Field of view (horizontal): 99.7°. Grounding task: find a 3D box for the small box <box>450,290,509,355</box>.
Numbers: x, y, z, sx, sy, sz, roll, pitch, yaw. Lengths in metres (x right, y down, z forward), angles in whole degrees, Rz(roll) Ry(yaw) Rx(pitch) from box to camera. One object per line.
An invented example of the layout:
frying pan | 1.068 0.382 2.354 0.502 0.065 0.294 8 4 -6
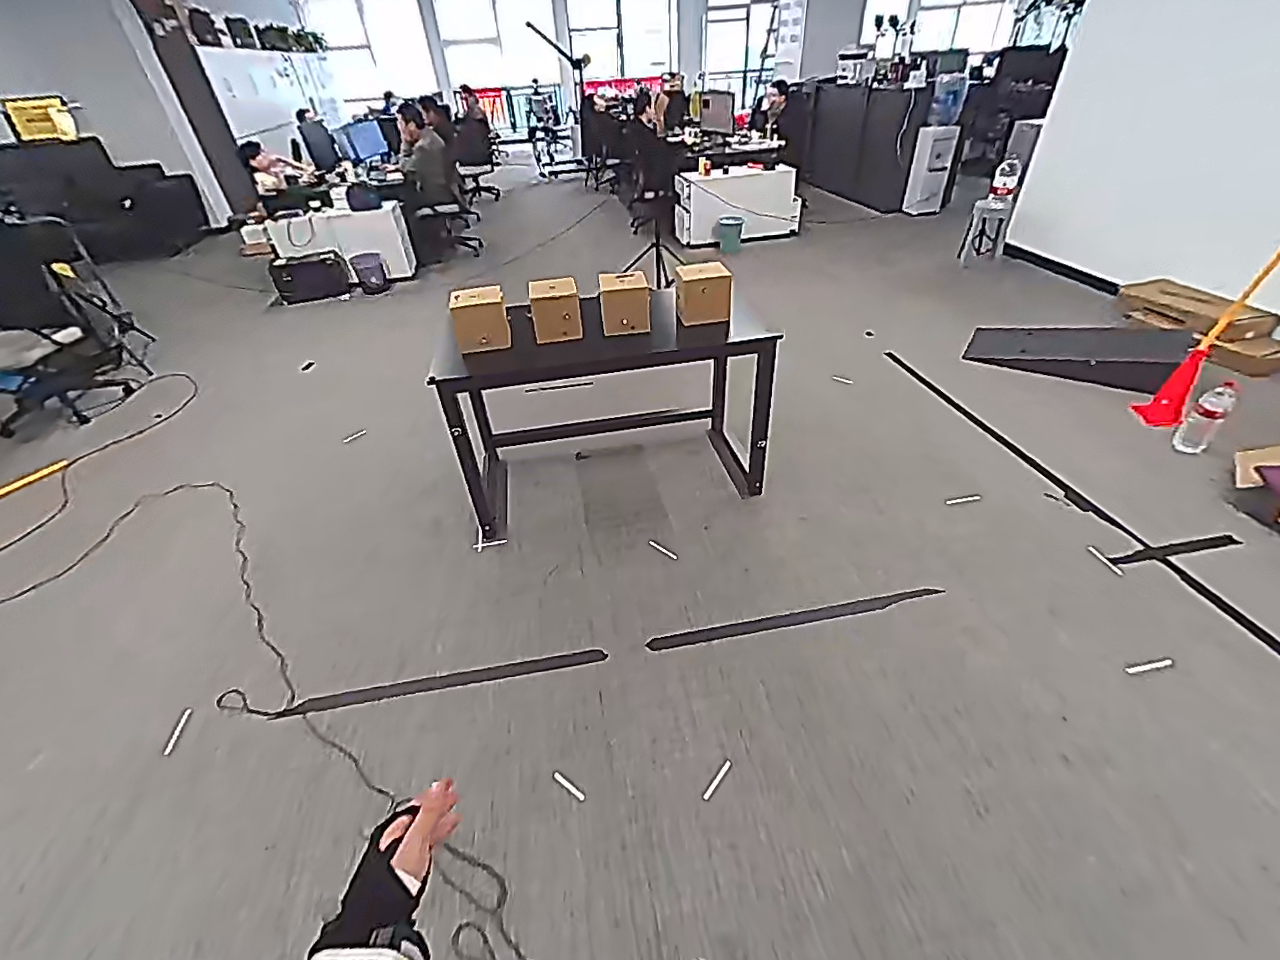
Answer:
small box | -0.563 -0.559 1.920 0.179 0.176 0.168 -9 38 -9

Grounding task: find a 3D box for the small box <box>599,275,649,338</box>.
small box | -0.061 -0.633 1.974 0.168 0.176 0.179 -6 39 -3

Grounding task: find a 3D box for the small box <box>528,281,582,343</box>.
small box | -0.307 -0.602 1.958 0.168 0.176 0.179 -9 37 -8

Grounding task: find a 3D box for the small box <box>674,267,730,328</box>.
small box | 0.227 -0.676 2.005 0.179 0.176 0.168 -8 38 -5
